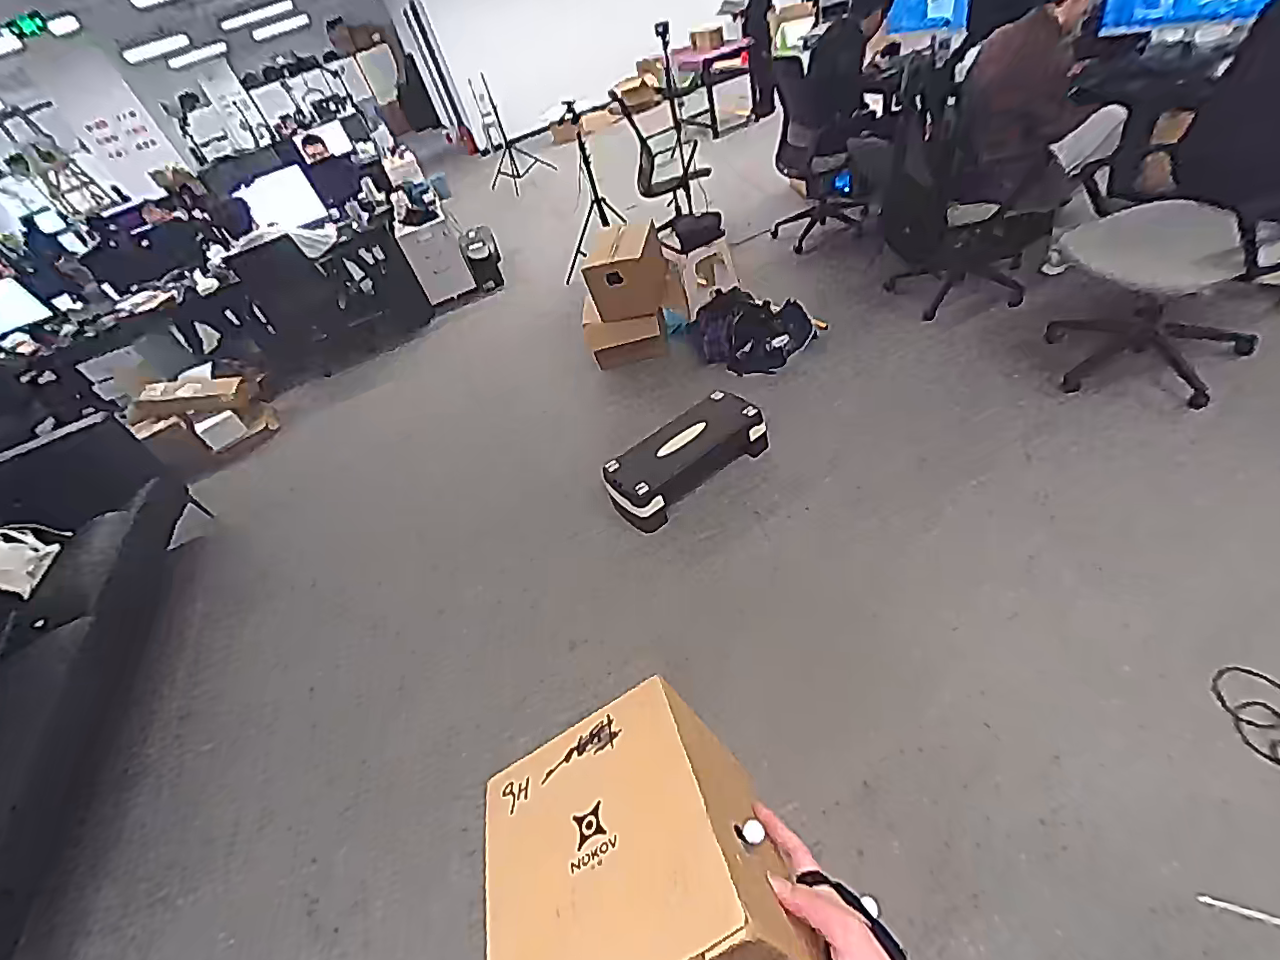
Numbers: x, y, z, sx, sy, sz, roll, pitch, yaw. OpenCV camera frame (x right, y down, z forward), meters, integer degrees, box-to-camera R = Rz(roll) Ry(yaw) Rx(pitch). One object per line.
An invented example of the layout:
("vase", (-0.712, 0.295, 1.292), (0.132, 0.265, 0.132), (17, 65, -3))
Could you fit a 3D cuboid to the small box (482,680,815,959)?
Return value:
("small box", (0.003, 0.295, 0.402), (0.168, 0.176, 0.179), (-32, 33, 2))
